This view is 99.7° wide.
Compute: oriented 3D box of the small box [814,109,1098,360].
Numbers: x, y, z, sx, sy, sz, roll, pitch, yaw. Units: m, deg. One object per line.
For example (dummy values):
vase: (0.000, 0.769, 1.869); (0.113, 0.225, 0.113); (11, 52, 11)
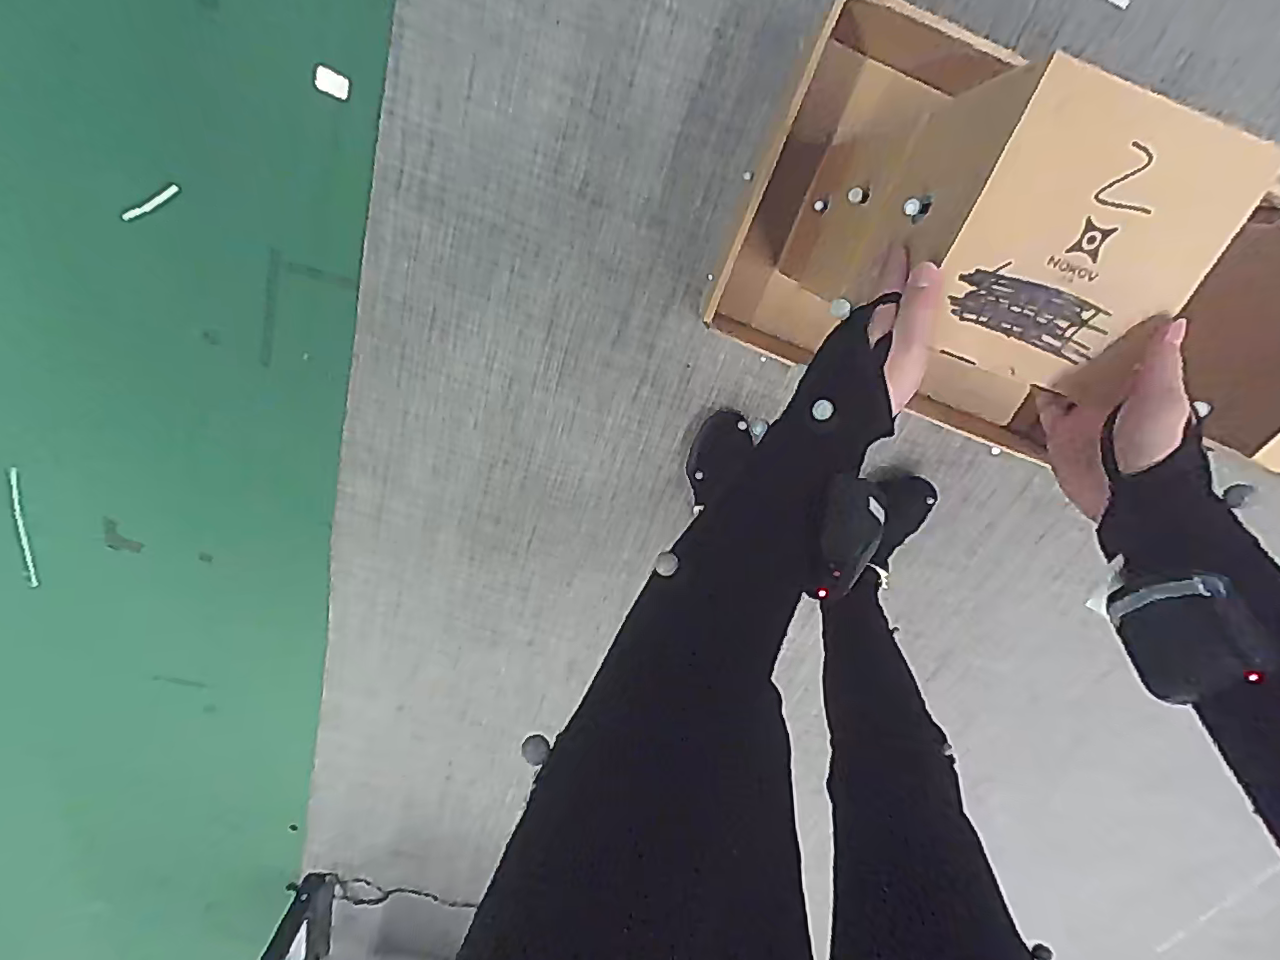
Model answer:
small box: (0.305, -0.251, 0.573); (0.168, 0.176, 0.179); (18, 115, -3)

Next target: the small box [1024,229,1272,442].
small box: (0.589, -0.161, 0.603); (0.168, 0.176, 0.179); (23, 116, -9)

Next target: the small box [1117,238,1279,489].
small box: (0.580, -0.086, 0.457); (0.168, 0.176, 0.179); (24, 116, -8)
